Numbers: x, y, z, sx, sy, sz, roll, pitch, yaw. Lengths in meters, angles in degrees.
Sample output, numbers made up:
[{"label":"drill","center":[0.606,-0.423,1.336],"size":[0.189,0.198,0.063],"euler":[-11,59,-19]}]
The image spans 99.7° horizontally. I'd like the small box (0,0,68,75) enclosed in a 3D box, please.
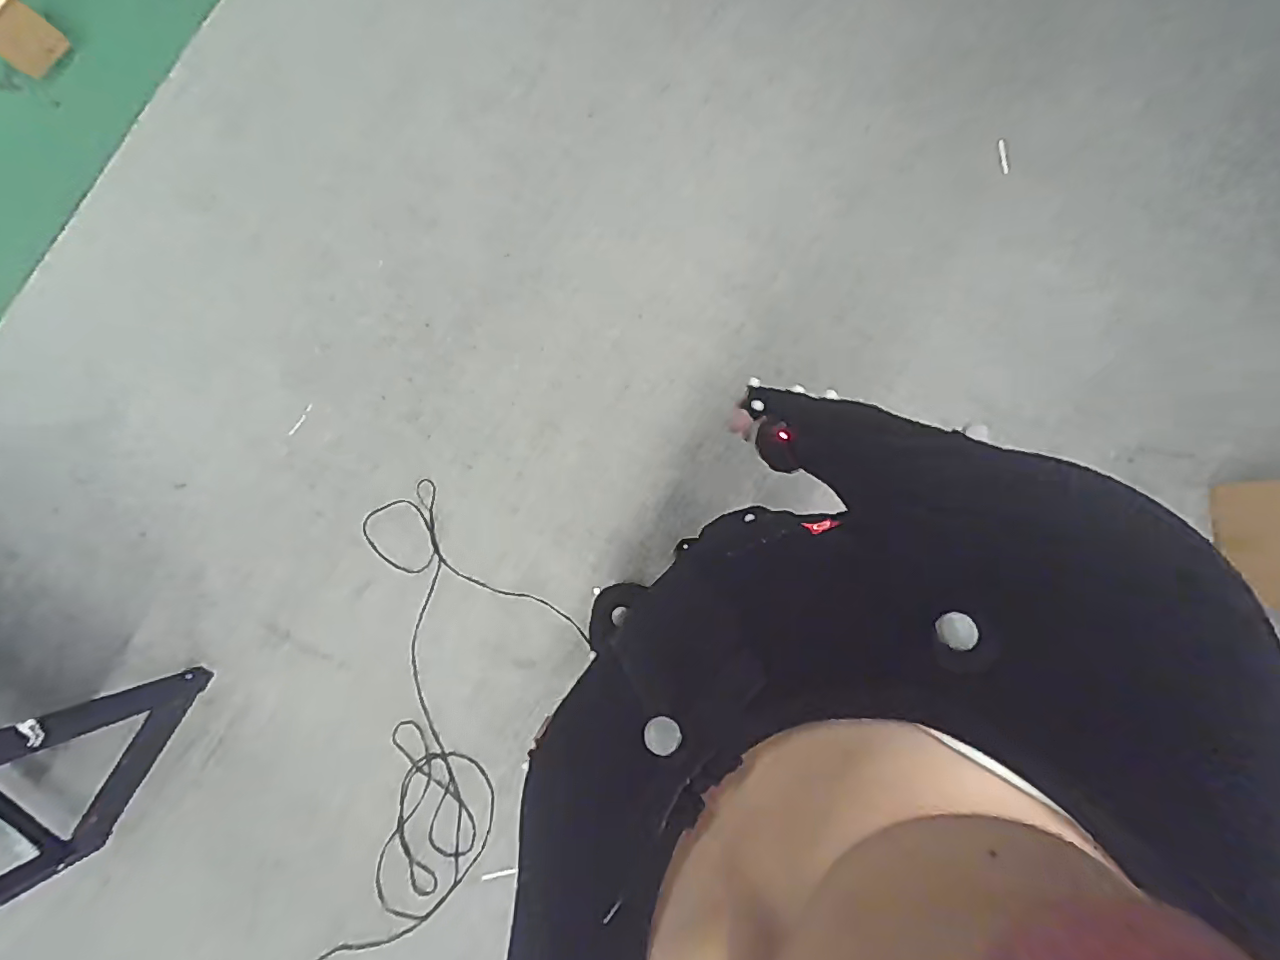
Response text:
[{"label":"small box","center":[-1.912,-1.377,1.628],"size":[0.179,0.176,0.168],"euler":[40,88,5]}]
